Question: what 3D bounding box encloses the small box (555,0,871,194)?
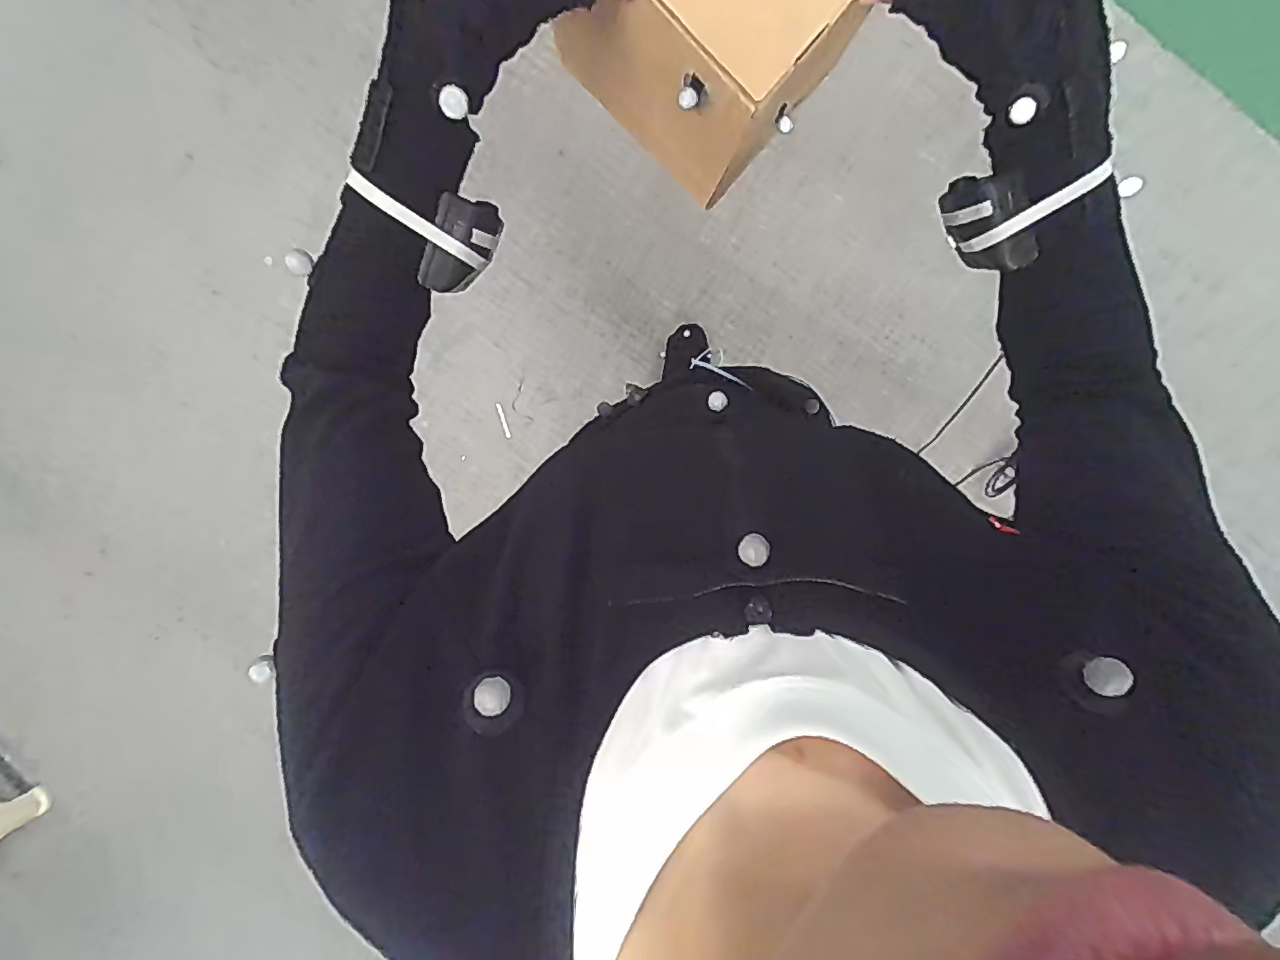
[{"bbox_3d":[0.050,-0.345,0.378,0.179,0.176,0.168,42,93,-9],"label":"small box"}]
